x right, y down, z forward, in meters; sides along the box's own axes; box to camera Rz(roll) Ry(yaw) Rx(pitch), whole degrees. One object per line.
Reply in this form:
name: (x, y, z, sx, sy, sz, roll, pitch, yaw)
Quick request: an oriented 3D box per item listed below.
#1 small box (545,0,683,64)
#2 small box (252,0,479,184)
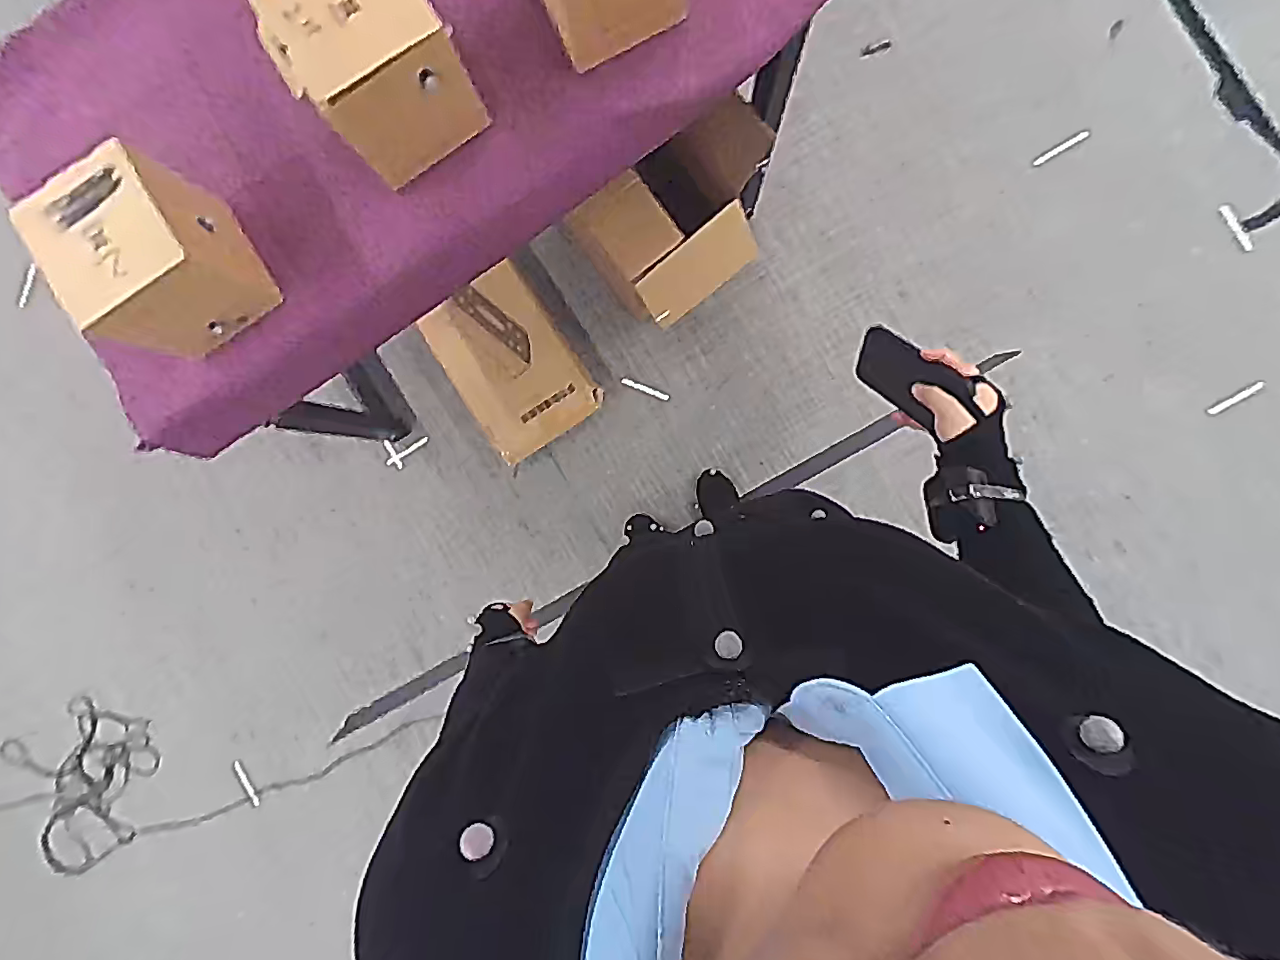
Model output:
small box: (-0.052, -0.687, 0.683, 0.179, 0.176, 0.168, -26, 89, 3)
small box: (-0.332, -0.536, 0.699, 0.179, 0.176, 0.168, -33, 86, 3)
